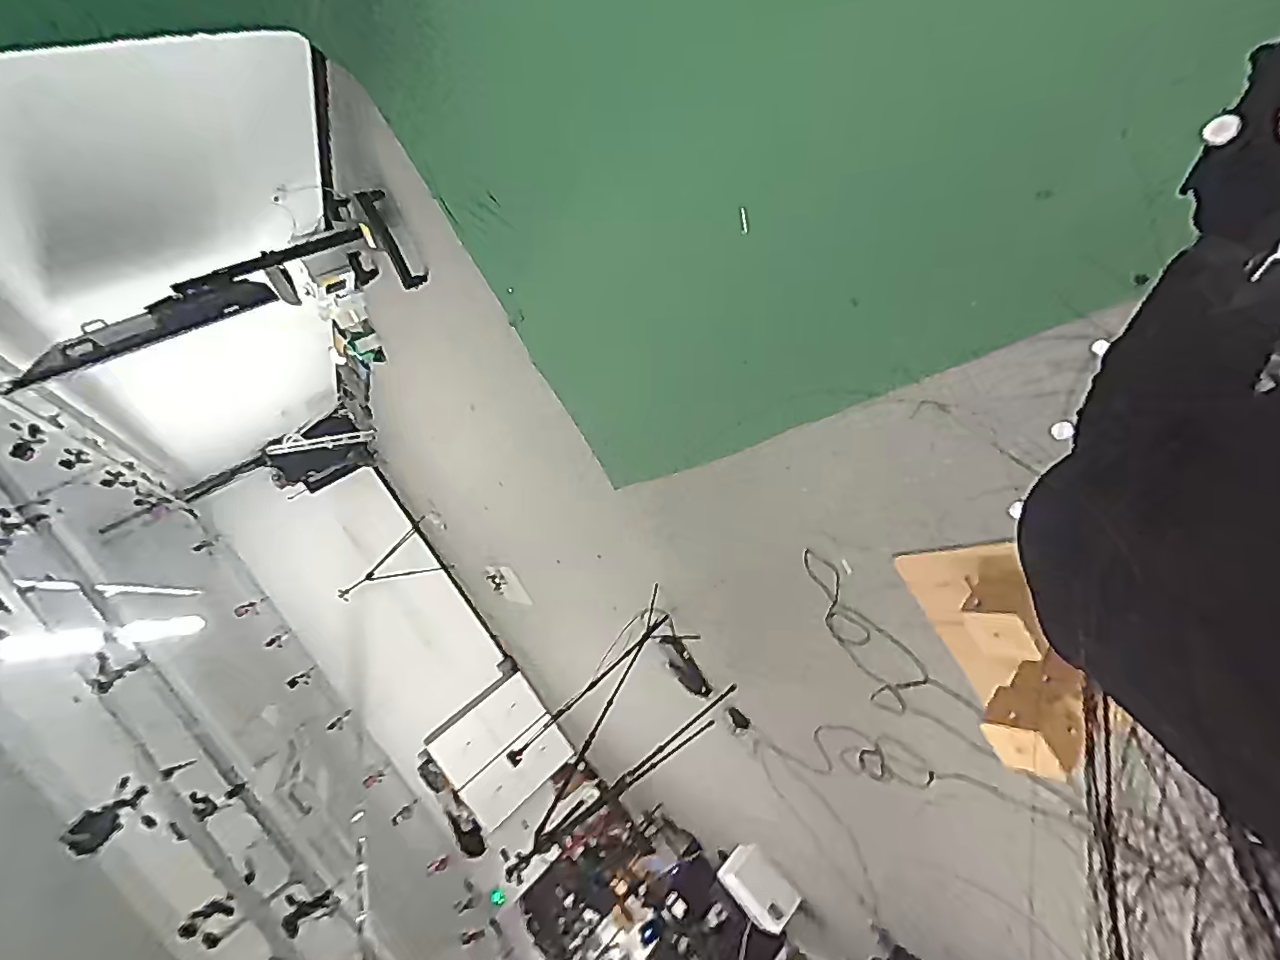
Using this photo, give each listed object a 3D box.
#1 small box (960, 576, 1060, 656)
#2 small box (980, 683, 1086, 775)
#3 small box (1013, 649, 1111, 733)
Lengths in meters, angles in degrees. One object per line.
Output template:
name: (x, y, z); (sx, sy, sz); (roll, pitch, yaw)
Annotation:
small box: (1.127, 0.407, 1.645); (0.168, 0.176, 0.179); (57, 150, -8)
small box: (1.158, 0.722, 1.593); (0.168, 0.176, 0.179); (56, 151, -4)
small box: (1.288, 0.635, 1.648); (0.168, 0.176, 0.179); (55, 151, -2)
